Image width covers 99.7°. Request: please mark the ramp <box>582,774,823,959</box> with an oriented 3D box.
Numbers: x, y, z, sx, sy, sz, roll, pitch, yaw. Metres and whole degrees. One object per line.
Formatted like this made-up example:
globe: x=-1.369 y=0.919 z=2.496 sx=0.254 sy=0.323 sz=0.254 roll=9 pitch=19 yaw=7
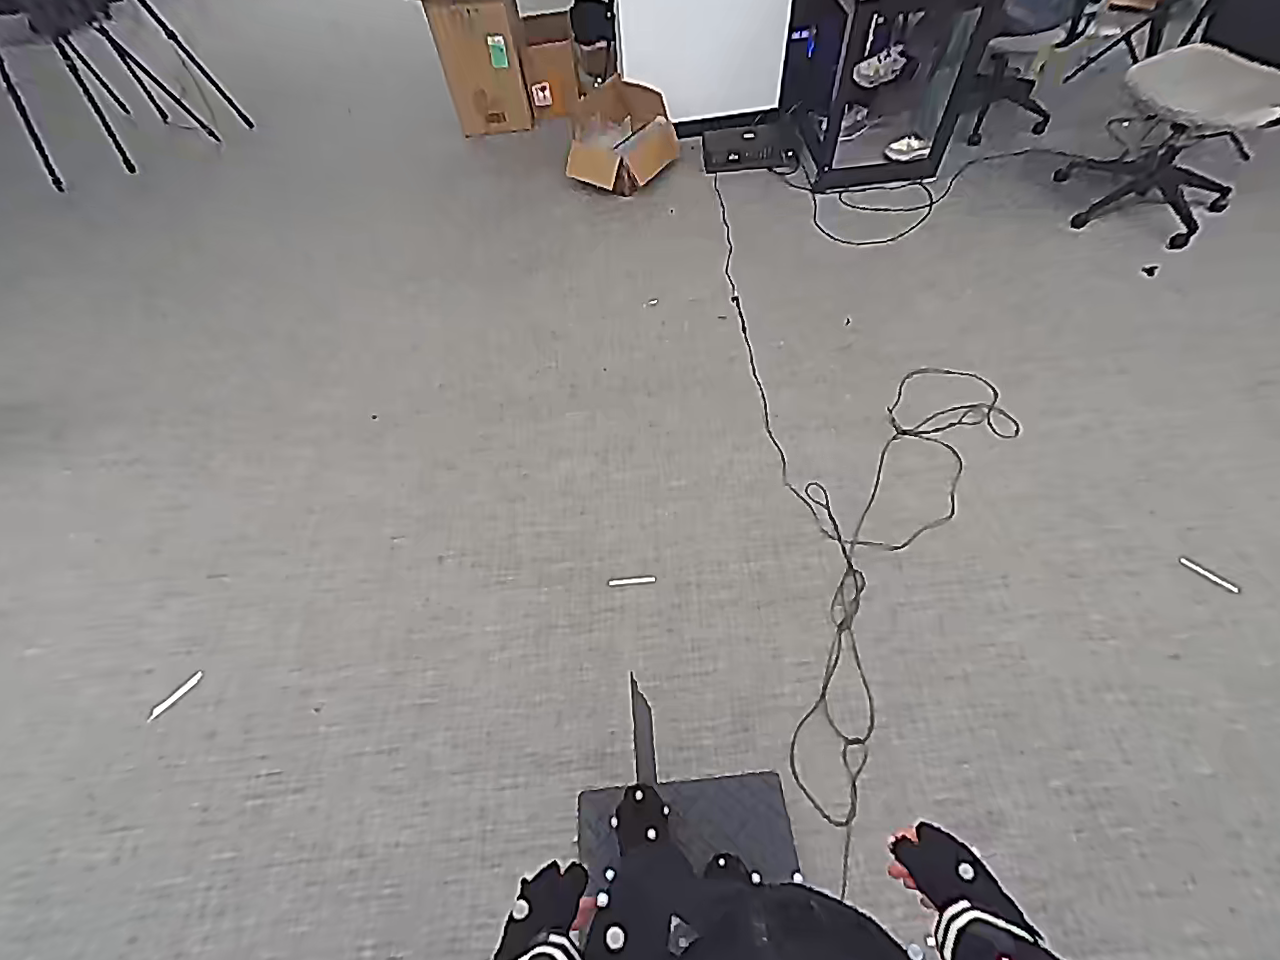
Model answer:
ramp: x=0.138 y=1.108 z=0.981 sx=0.509 sy=0.206 sz=0.991 roll=-9 pitch=57 yaw=1
